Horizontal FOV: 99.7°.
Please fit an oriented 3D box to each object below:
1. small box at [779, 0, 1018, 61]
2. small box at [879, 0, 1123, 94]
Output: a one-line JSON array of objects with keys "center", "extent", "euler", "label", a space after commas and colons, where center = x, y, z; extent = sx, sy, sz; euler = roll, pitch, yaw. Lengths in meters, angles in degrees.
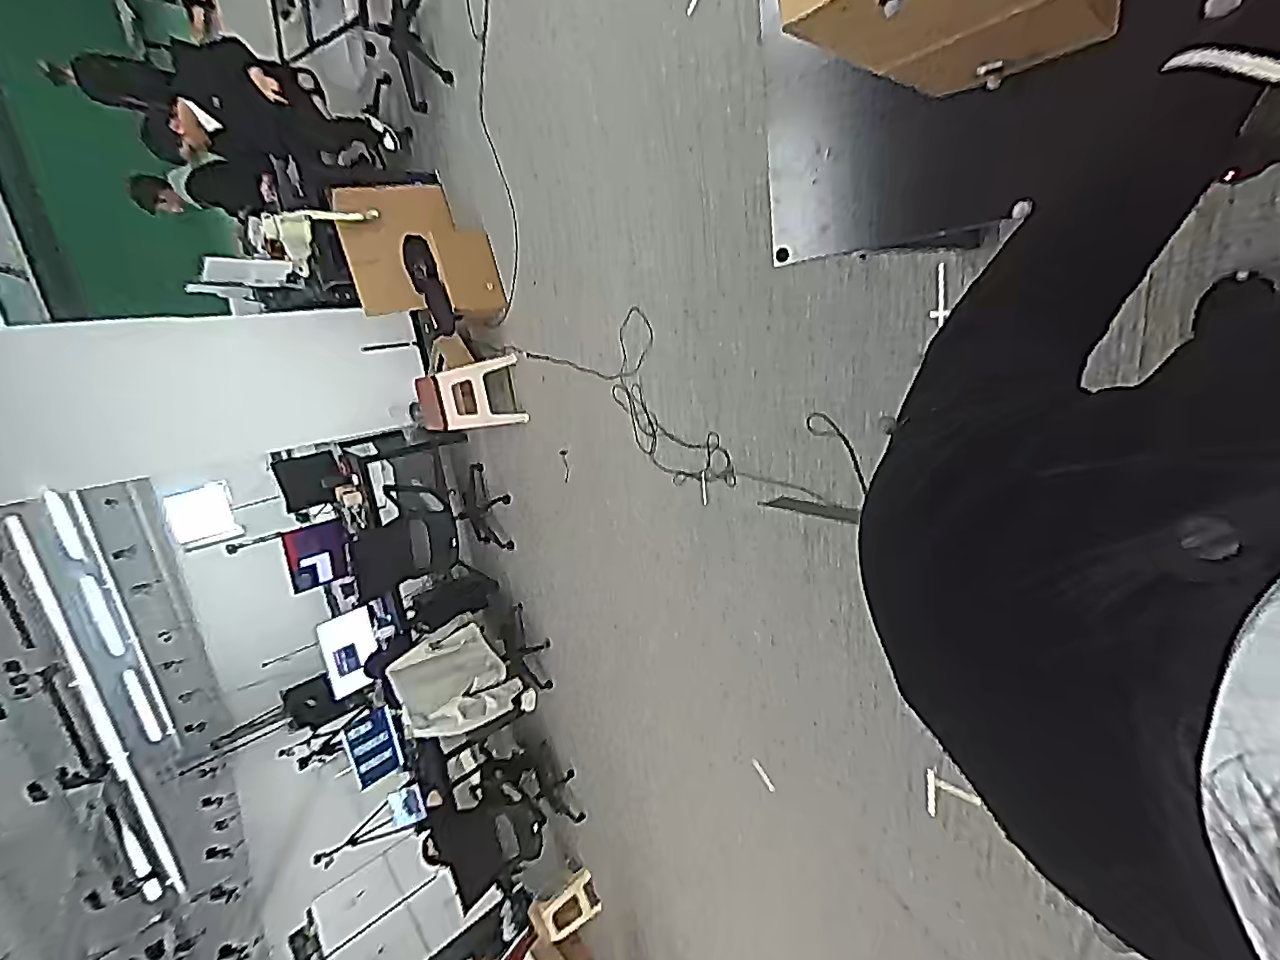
[{"center": [0.225, -0.467, 0.418], "extent": [0.179, 0.176, 0.168], "euler": [9, 112, 49], "label": "small box"}, {"center": [0.348, -0.511, 0.518], "extent": [0.168, 0.176, 0.179], "euler": [11, 114, 49], "label": "small box"}]
